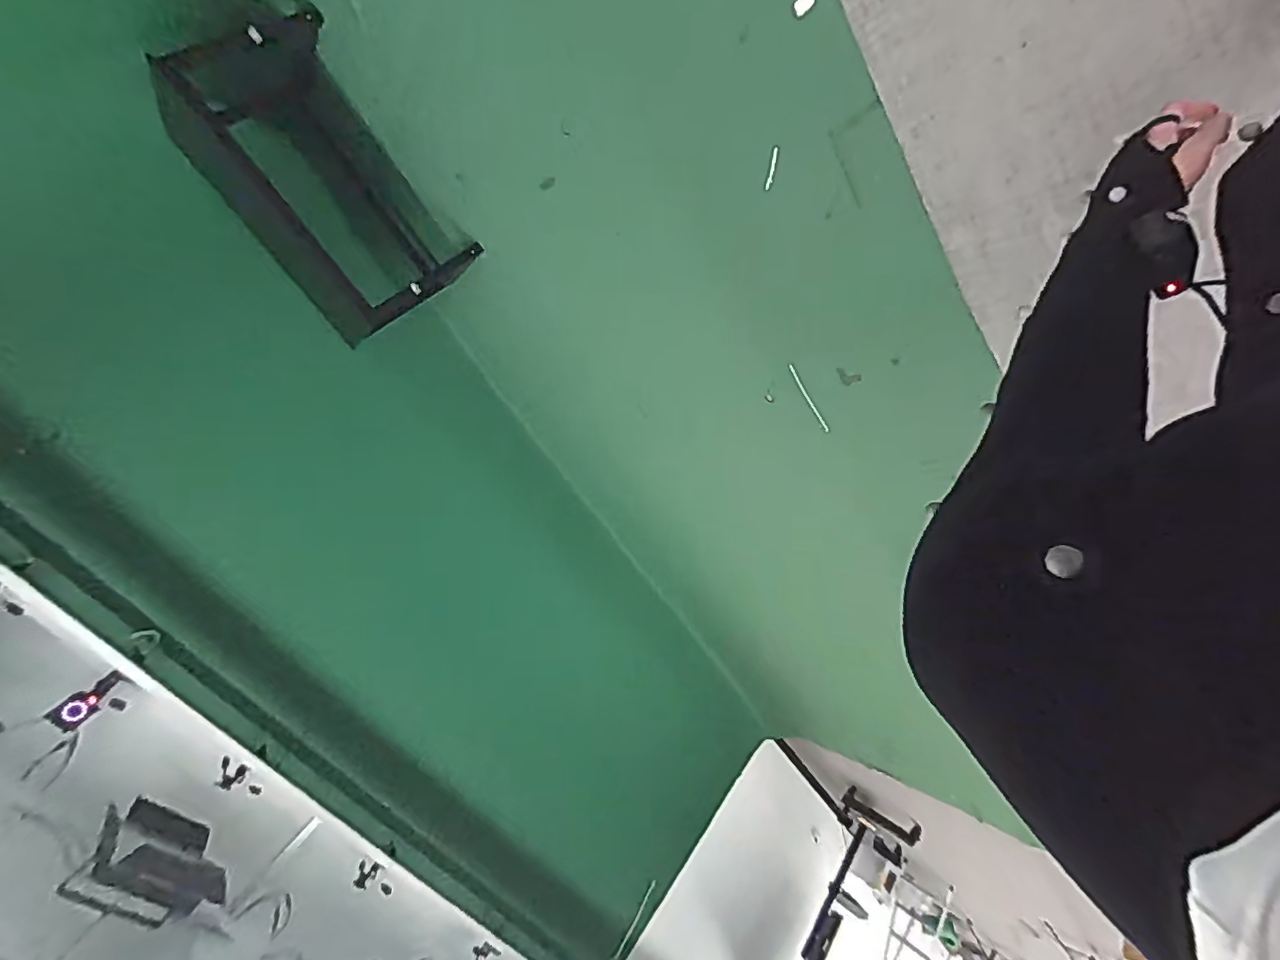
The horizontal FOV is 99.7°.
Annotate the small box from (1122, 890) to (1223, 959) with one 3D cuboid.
[{"bbox_3d":[1.463,1.289,1.483,0.168,0.176,0.179,-7,125,55],"label":"small box"}]
